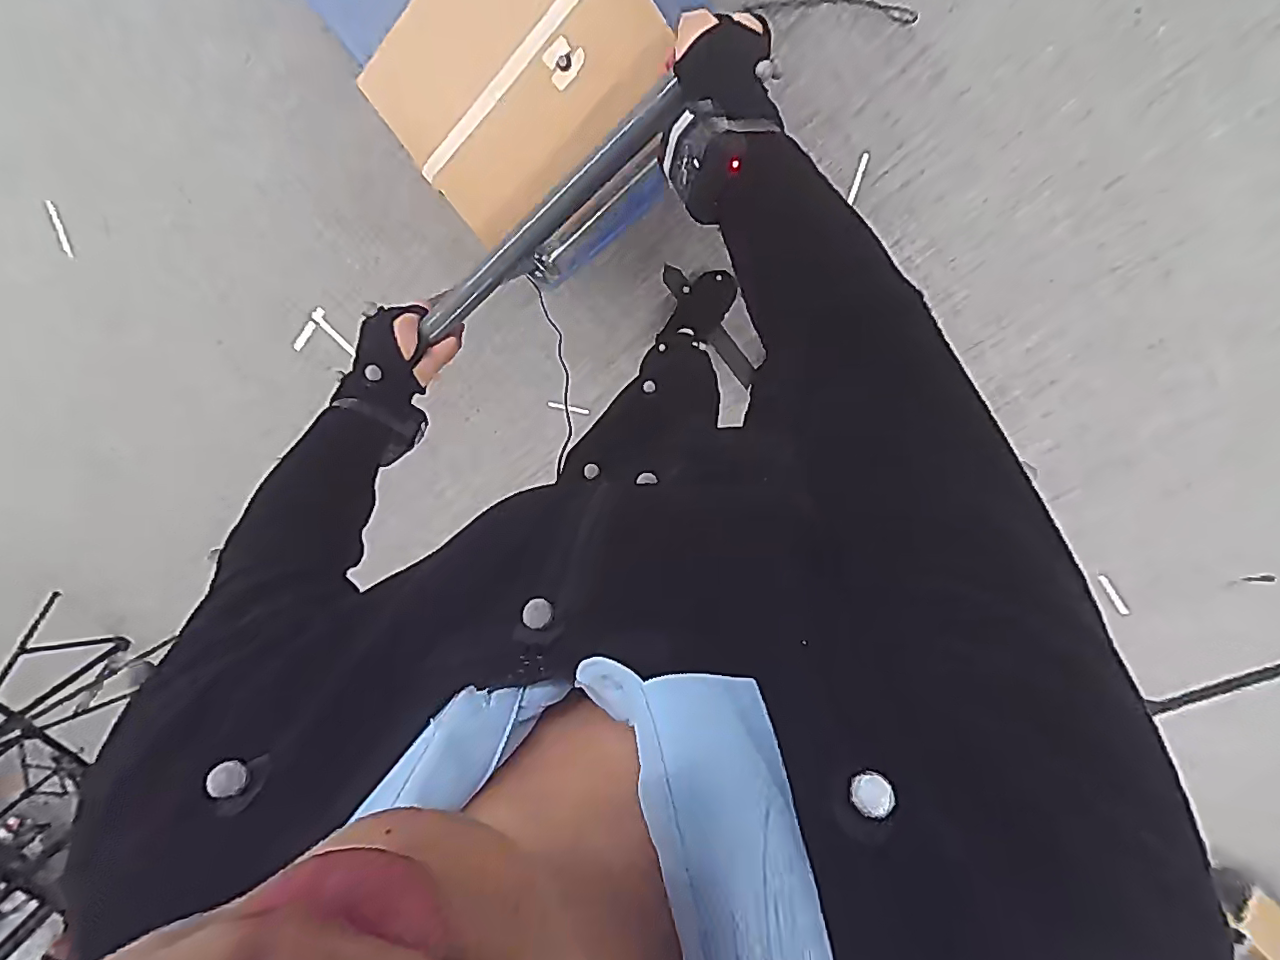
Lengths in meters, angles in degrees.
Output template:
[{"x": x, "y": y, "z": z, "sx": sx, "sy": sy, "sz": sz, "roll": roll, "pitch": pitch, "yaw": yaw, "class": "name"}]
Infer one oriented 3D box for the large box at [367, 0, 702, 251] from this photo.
[{"x": -0.152, "y": -0.655, "z": 0.914, "sx": 0.408, "sy": 0.320, "sz": 0.320, "roll": -33, "pitch": 107, "yaw": 24, "class": "large box"}]
